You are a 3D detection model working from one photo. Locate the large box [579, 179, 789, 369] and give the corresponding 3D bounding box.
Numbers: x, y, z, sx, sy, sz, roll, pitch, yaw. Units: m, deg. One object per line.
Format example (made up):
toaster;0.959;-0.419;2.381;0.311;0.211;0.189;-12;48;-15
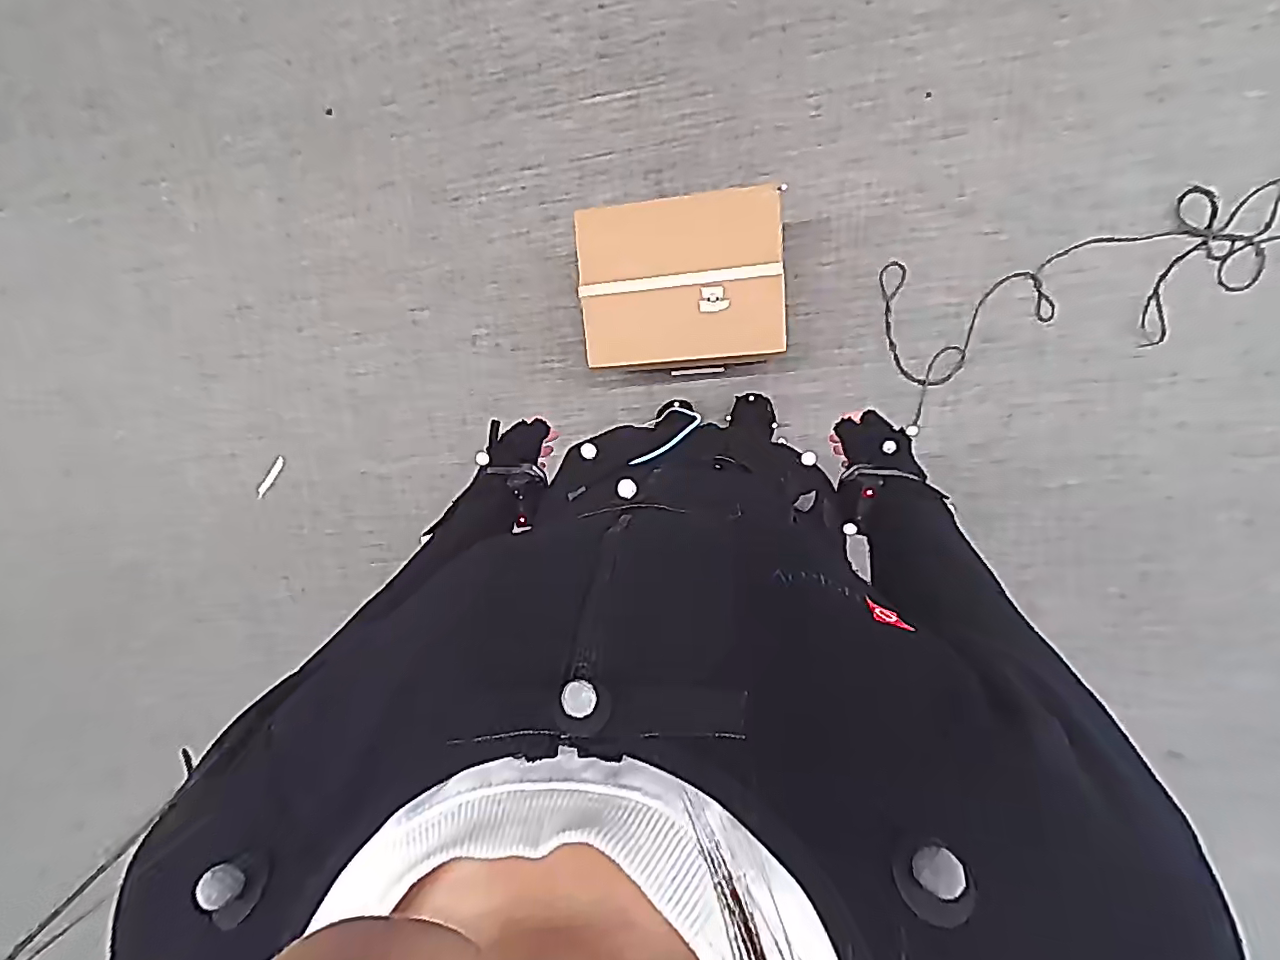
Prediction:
large box;0.105;-0.430;1.220;0.408;0.320;0.320;-3;100;9
